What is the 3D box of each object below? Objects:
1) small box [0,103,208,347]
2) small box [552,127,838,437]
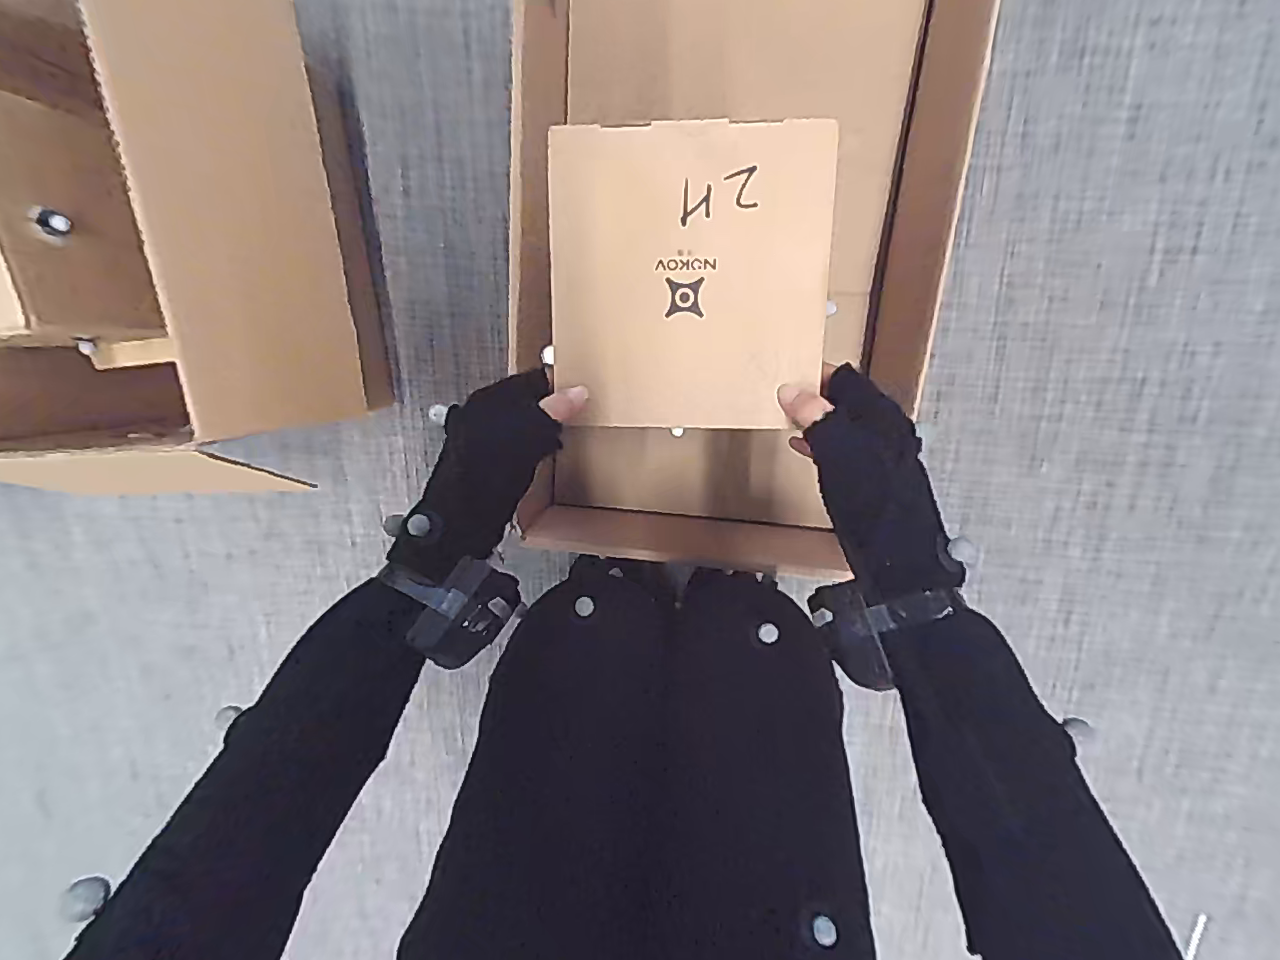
[{"bbox_3d":[-0.534,-0.211,0.475,0.168,0.176,0.179,-3,104,6],"label":"small box"},{"bbox_3d":[0.036,-0.132,0.403,0.168,0.176,0.179,2,103,5],"label":"small box"}]
